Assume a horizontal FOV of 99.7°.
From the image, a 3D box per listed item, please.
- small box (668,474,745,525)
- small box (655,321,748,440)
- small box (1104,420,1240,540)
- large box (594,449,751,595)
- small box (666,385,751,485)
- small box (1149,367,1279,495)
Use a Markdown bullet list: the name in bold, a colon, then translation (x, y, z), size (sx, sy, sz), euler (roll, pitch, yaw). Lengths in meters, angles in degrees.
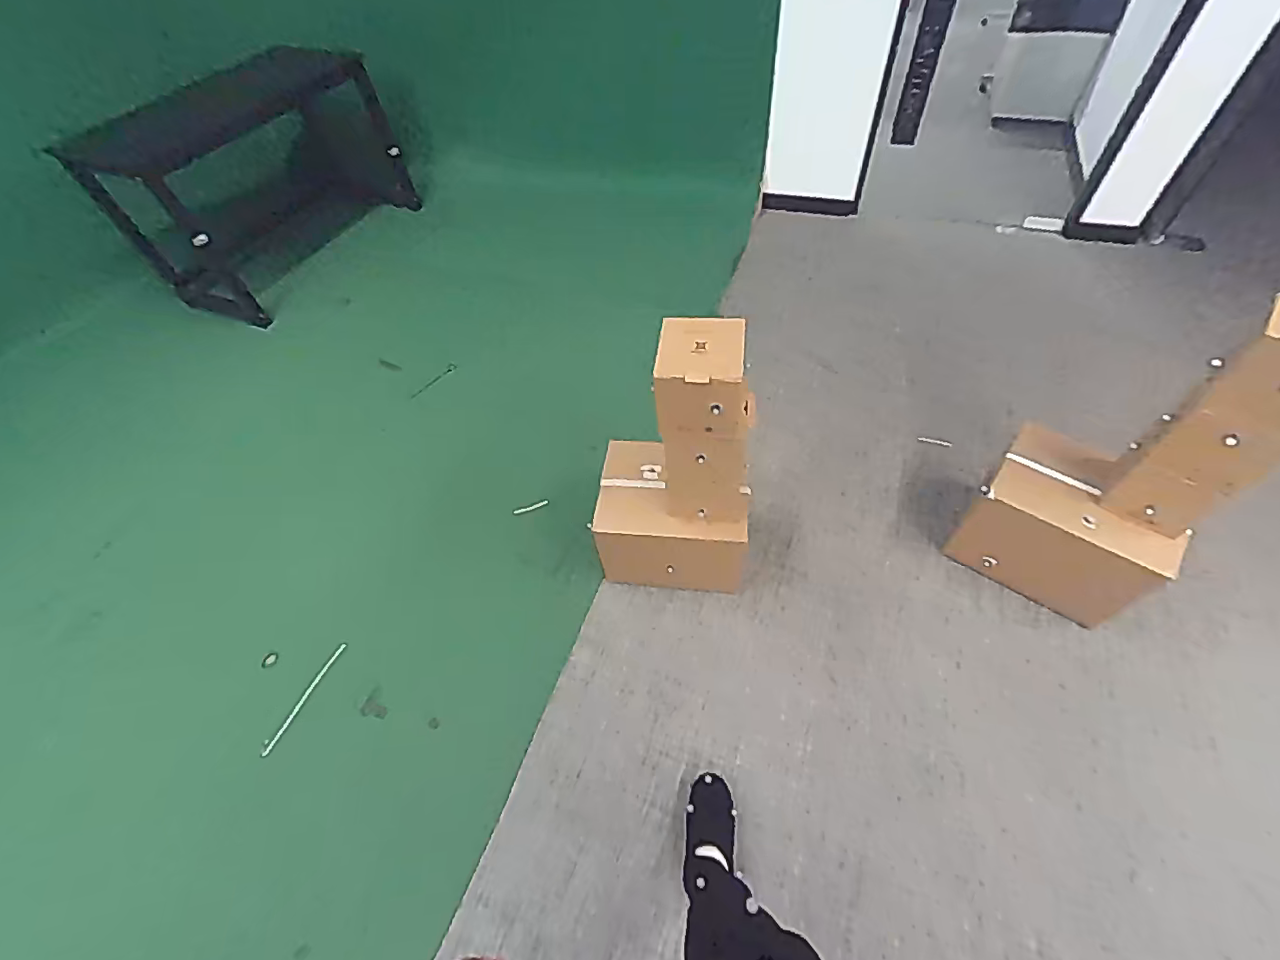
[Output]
- **small box**: translation (0.171, -0.004, 1.356), size (0.179, 0.176, 0.168), euler (7, 54, 11)
- **small box**: translation (0.130, -0.199, 1.096), size (0.168, 0.176, 0.179), euler (4, 54, 9)
- **small box**: translation (1.224, 0.002, 1.244), size (0.168, 0.176, 0.179), euler (32, 61, 26)
- **large box**: translation (0.111, 0.124, 1.574), size (0.408, 0.320, 0.320), euler (2, 53, 9)
- **small box**: translation (0.157, -0.101, 1.224), size (0.179, 0.176, 0.168), euler (2, 54, 9)
- **small box**: translation (1.220, -0.093, 1.113), size (0.179, 0.176, 0.168), euler (33, 61, 27)
